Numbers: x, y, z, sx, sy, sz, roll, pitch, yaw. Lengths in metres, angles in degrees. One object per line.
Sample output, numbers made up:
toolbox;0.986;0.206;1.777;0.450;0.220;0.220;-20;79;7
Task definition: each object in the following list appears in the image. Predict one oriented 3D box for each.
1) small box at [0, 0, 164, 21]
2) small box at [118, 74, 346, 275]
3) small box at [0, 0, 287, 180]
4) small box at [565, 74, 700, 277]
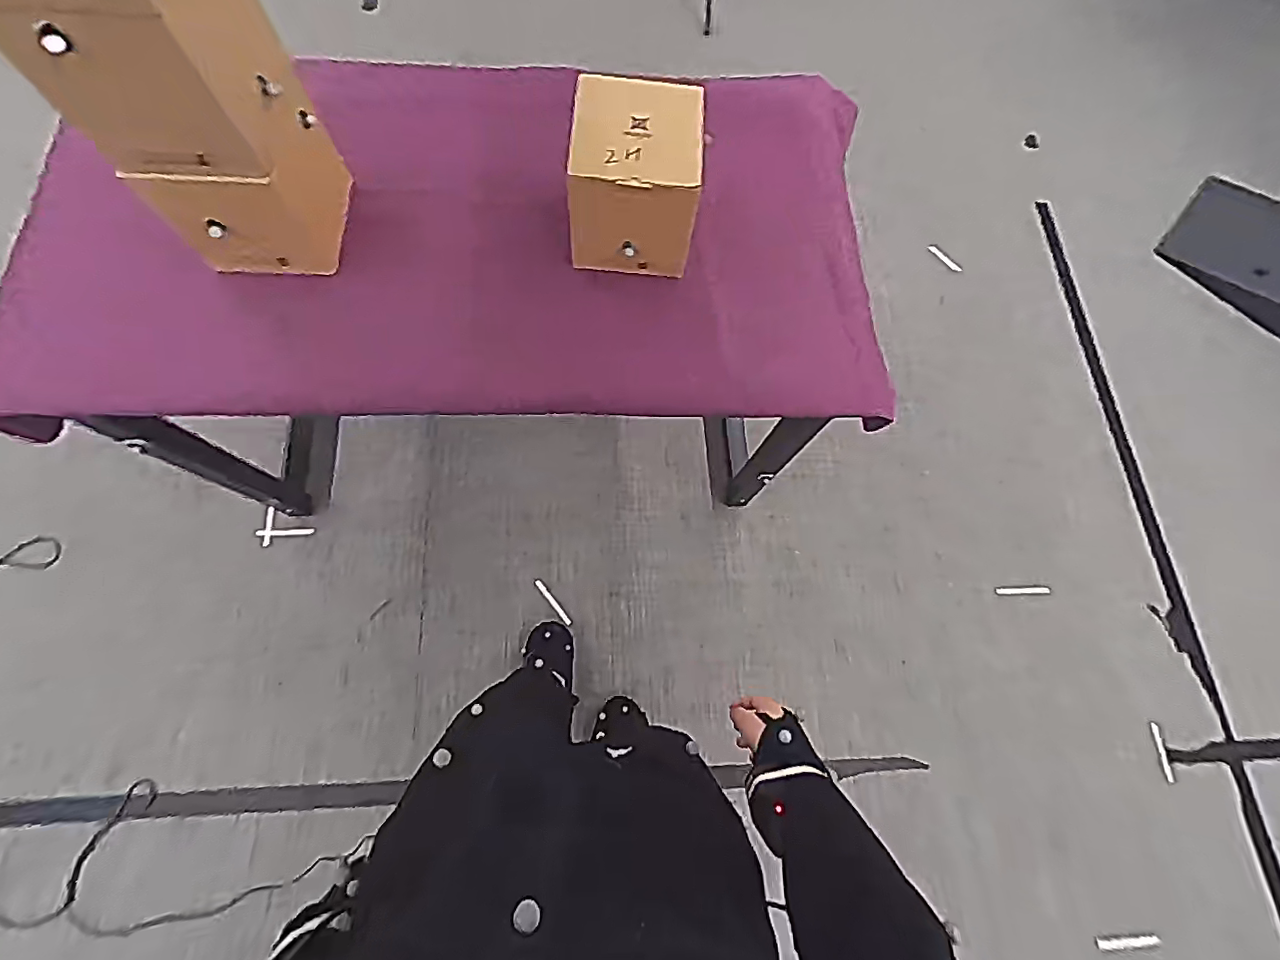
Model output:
small box;-0.483;-0.497;0.402;0.168;0.176;0.179;0;73;-5
small box;-0.513;-0.394;0.713;0.168;0.176;0.179;0;72;-5
small box;-0.501;-0.449;0.559;0.168;0.176;0.179;-1;72;-5
small box;-0.013;-0.418;0.761;0.168;0.176;0.179;4;72;-3
